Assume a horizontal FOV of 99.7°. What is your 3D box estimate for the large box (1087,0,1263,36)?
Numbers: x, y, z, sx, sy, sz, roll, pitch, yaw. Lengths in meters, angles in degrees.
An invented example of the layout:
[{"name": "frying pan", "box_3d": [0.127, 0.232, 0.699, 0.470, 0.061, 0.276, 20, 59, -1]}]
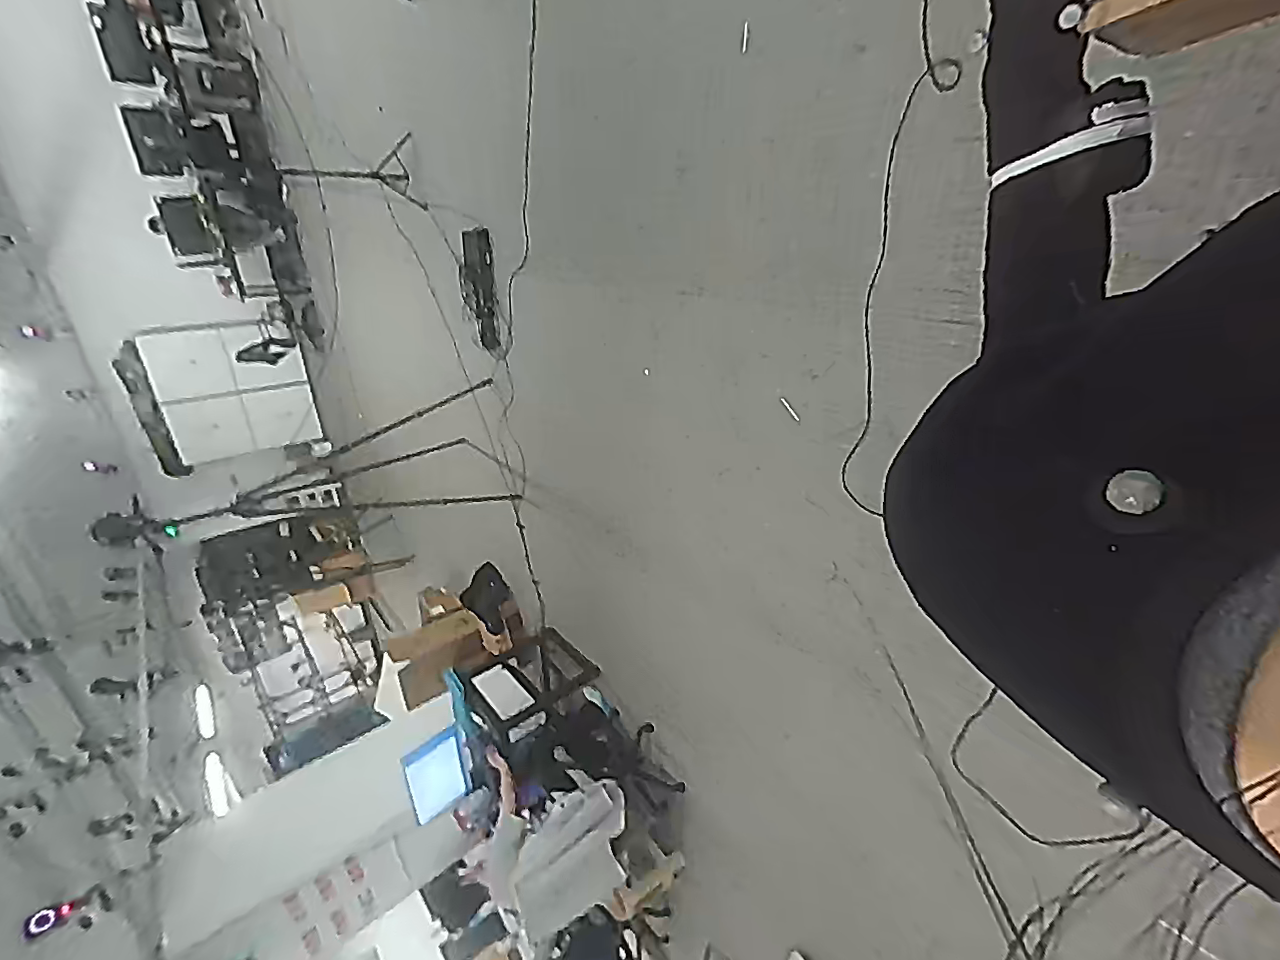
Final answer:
[{"name": "large box", "box_3d": [0.496, -0.482, 0.246, 0.408, 0.320, 0.320, 9, 121, 46]}]
